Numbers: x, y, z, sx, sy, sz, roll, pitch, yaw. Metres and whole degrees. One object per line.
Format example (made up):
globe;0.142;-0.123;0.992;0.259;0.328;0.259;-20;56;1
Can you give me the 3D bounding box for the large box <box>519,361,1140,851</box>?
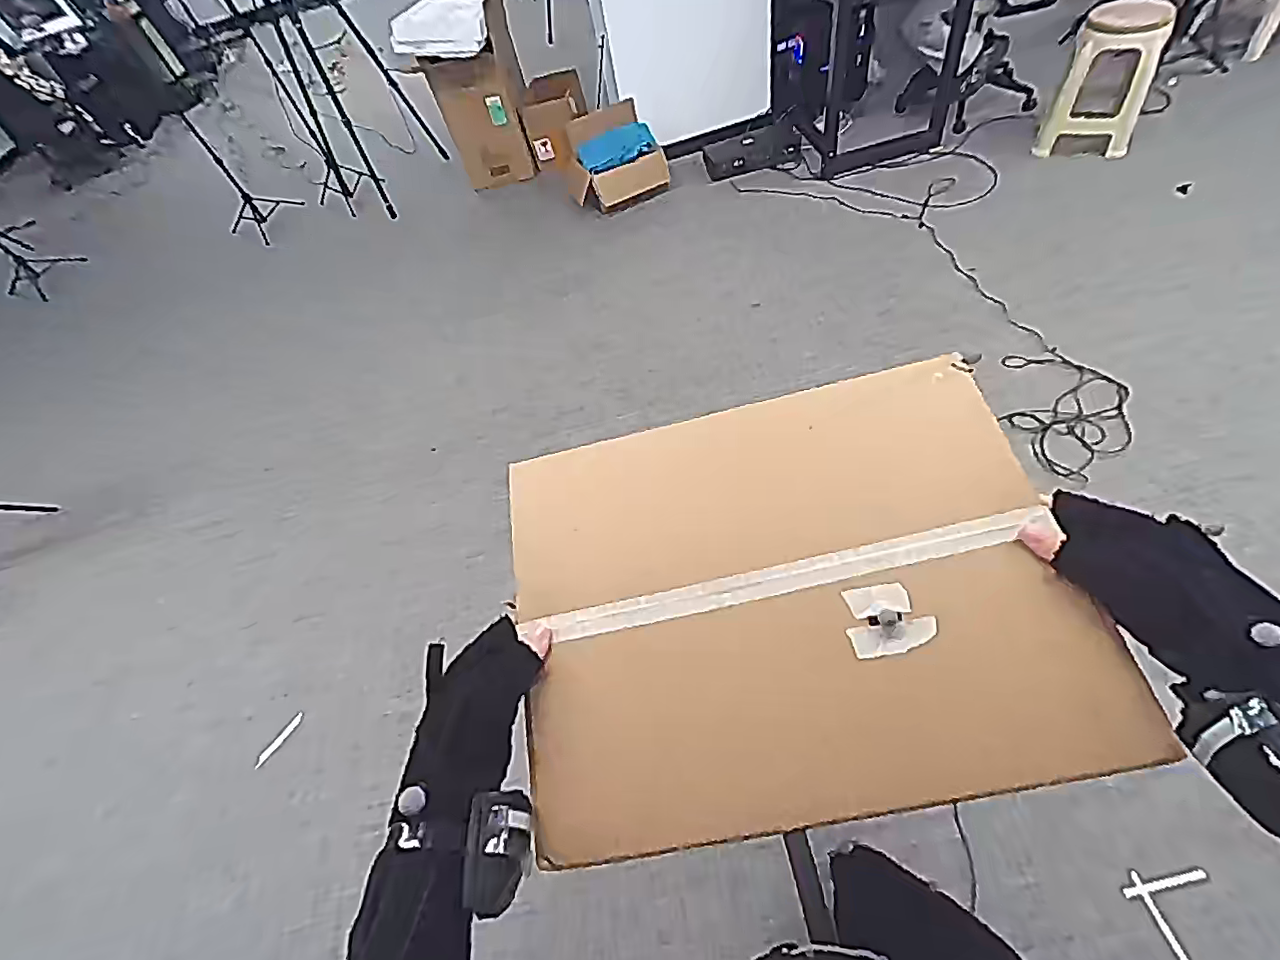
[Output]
large box;0.130;0.139;0.559;0.408;0.320;0.320;-14;64;5
